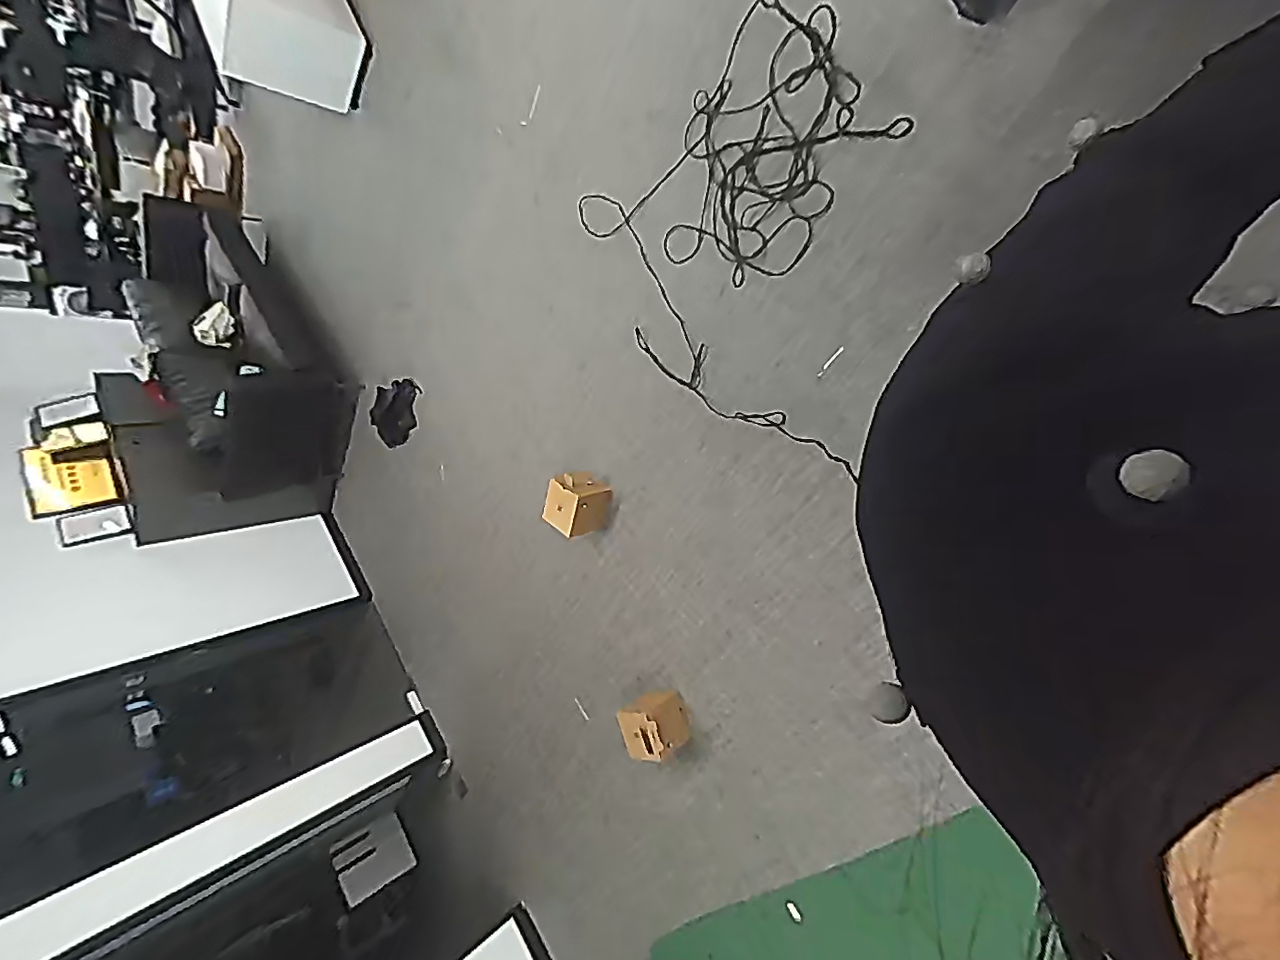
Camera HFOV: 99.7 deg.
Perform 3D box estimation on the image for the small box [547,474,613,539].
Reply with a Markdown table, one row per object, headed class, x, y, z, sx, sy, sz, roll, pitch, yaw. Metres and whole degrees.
| class | x | y | z | sx | sy | sz | roll | pitch | yaw |
| --- | --- | --- | --- | --- | --- | --- | --- | --- | --- |
| small box | -0.223 | 0.095 | 2.038 | 0.168 | 0.176 | 0.179 | 32 | 117 | 35 |
